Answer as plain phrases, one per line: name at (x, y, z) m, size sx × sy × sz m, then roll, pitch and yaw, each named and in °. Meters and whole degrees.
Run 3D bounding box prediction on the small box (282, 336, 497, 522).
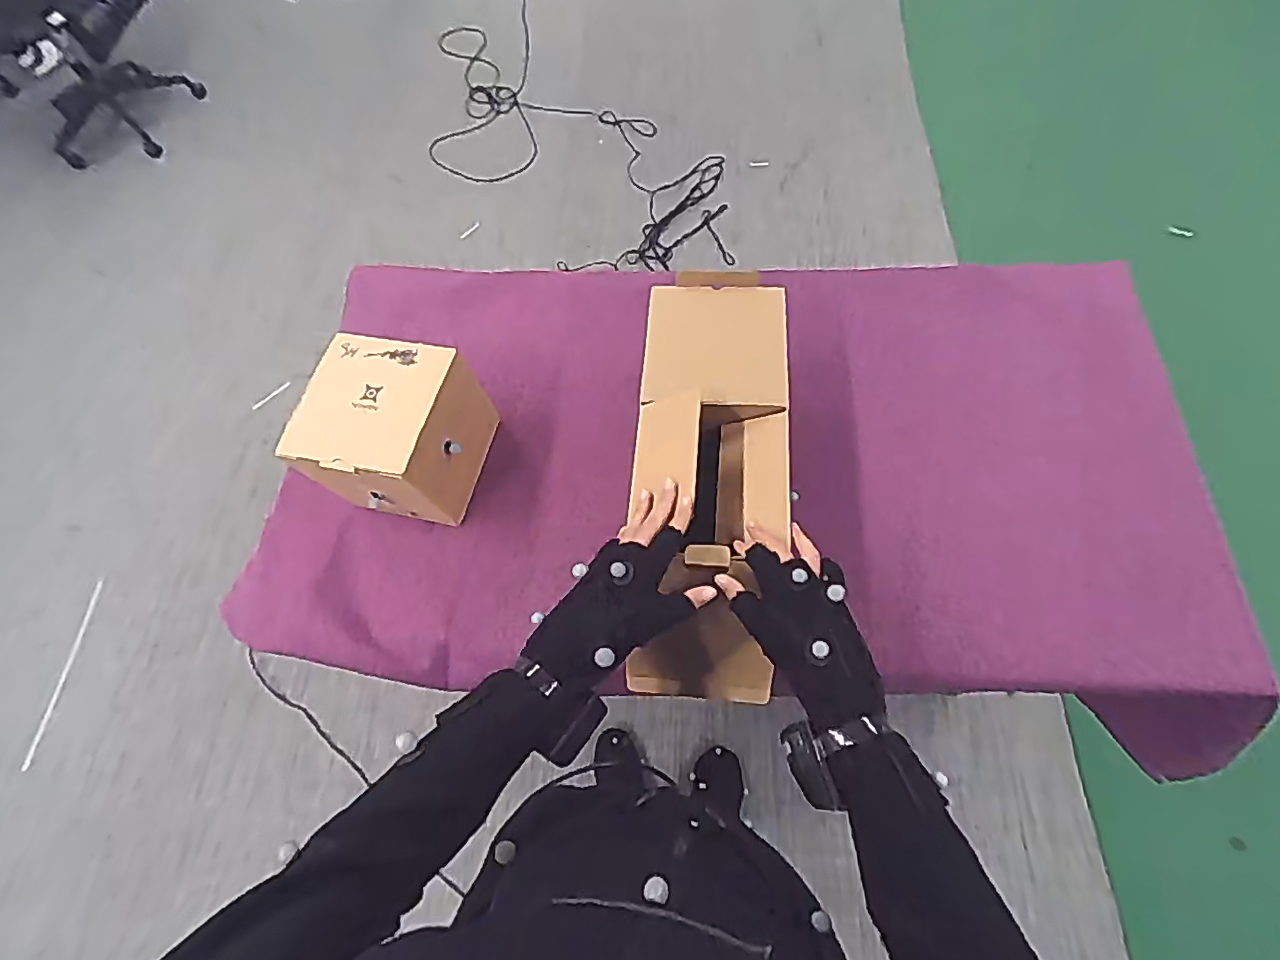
small box at (-0.306, -0.058, 0.707) m, size 0.168 × 0.176 × 0.179 m, roll 10°, pitch 68°, yaw 9°
